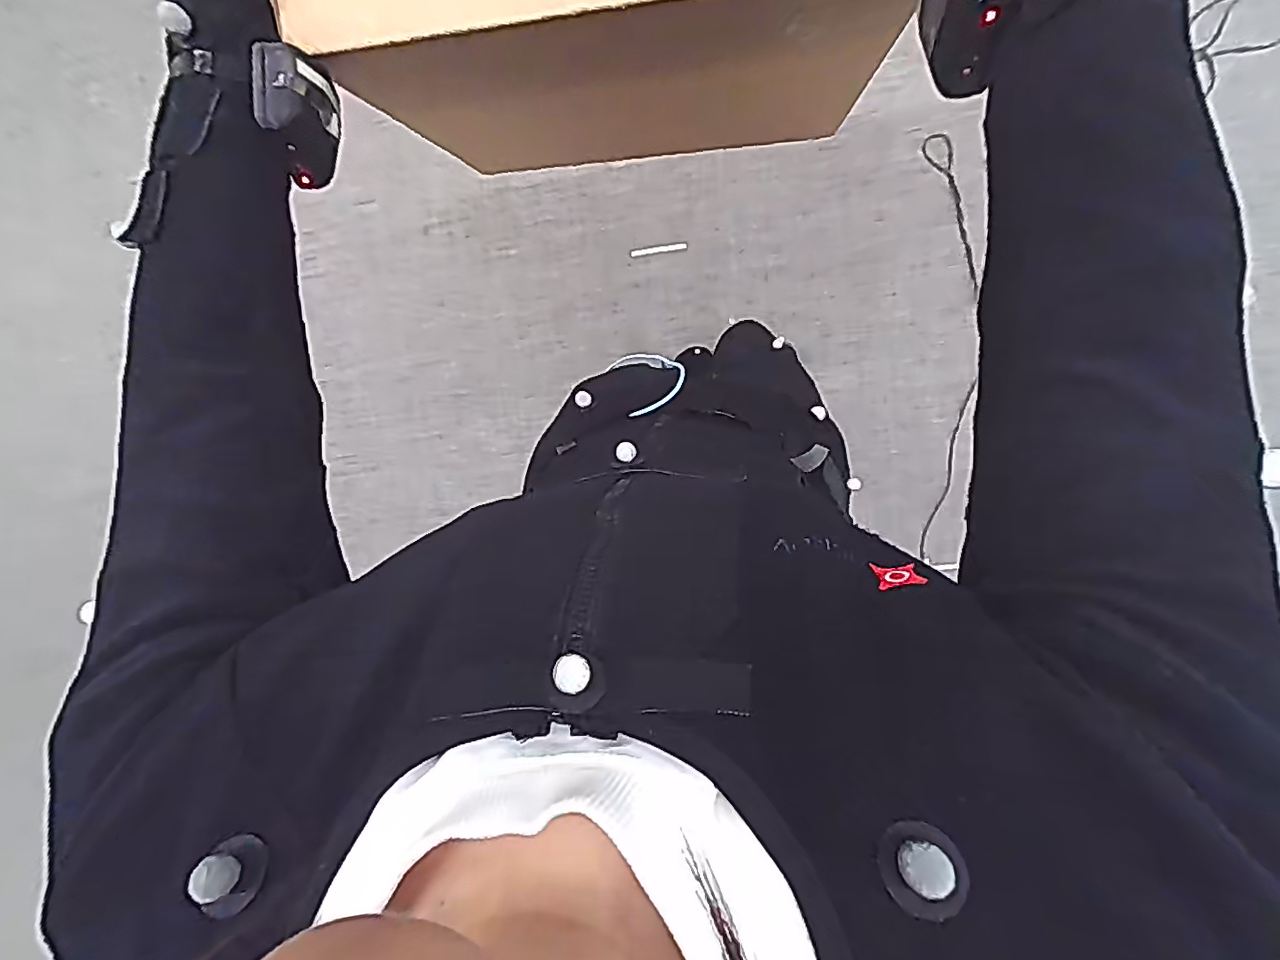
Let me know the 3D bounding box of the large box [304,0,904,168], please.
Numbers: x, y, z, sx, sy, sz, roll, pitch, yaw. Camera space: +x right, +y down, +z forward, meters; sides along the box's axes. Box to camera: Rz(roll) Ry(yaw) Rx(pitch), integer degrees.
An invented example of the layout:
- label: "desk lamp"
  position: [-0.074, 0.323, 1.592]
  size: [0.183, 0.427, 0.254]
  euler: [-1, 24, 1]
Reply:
- label: "large box"
  position: [-0.017, -0.482, 0.430]
  size: [0.408, 0.320, 0.320]
  euler: [-3, 107, 7]
